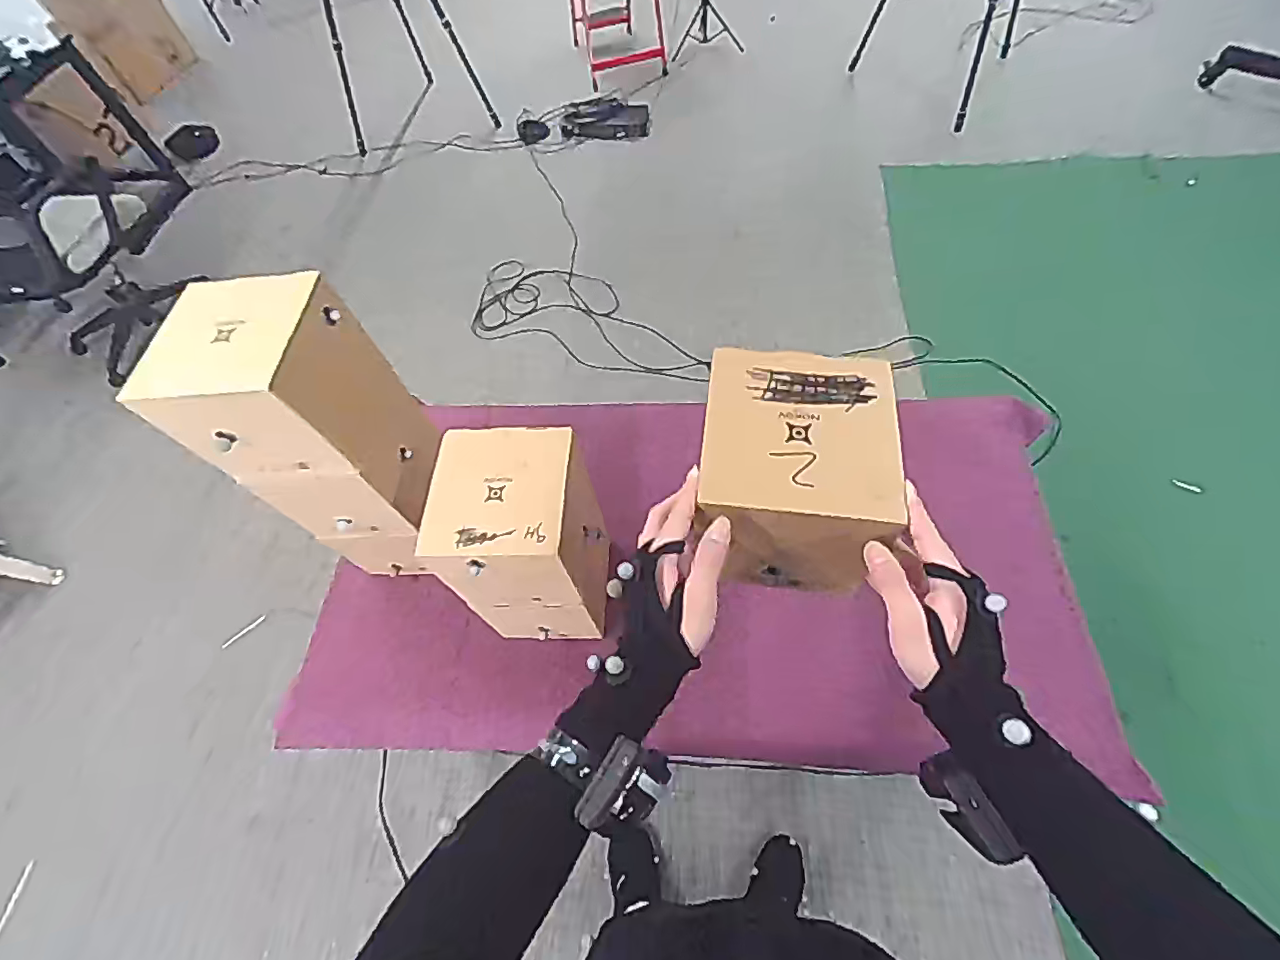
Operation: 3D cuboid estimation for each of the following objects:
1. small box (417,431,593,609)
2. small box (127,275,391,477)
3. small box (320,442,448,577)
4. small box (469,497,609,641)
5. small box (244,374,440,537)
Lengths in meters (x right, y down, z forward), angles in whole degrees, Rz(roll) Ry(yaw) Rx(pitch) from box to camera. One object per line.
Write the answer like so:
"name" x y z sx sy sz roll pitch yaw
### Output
"small box" -0.158 0.054 0.705 0.168 0.176 0.179 -1 58 6
"small box" -0.428 -0.113 0.647 0.168 0.176 0.179 -3 59 6
"small box" -0.397 0.054 0.925 0.168 0.176 0.179 -2 60 6
"small box" -0.143 0.140 0.844 0.168 0.176 0.179 -1 59 6
"small box" -0.412 -0.031 0.786 0.168 0.176 0.179 -2 60 6
